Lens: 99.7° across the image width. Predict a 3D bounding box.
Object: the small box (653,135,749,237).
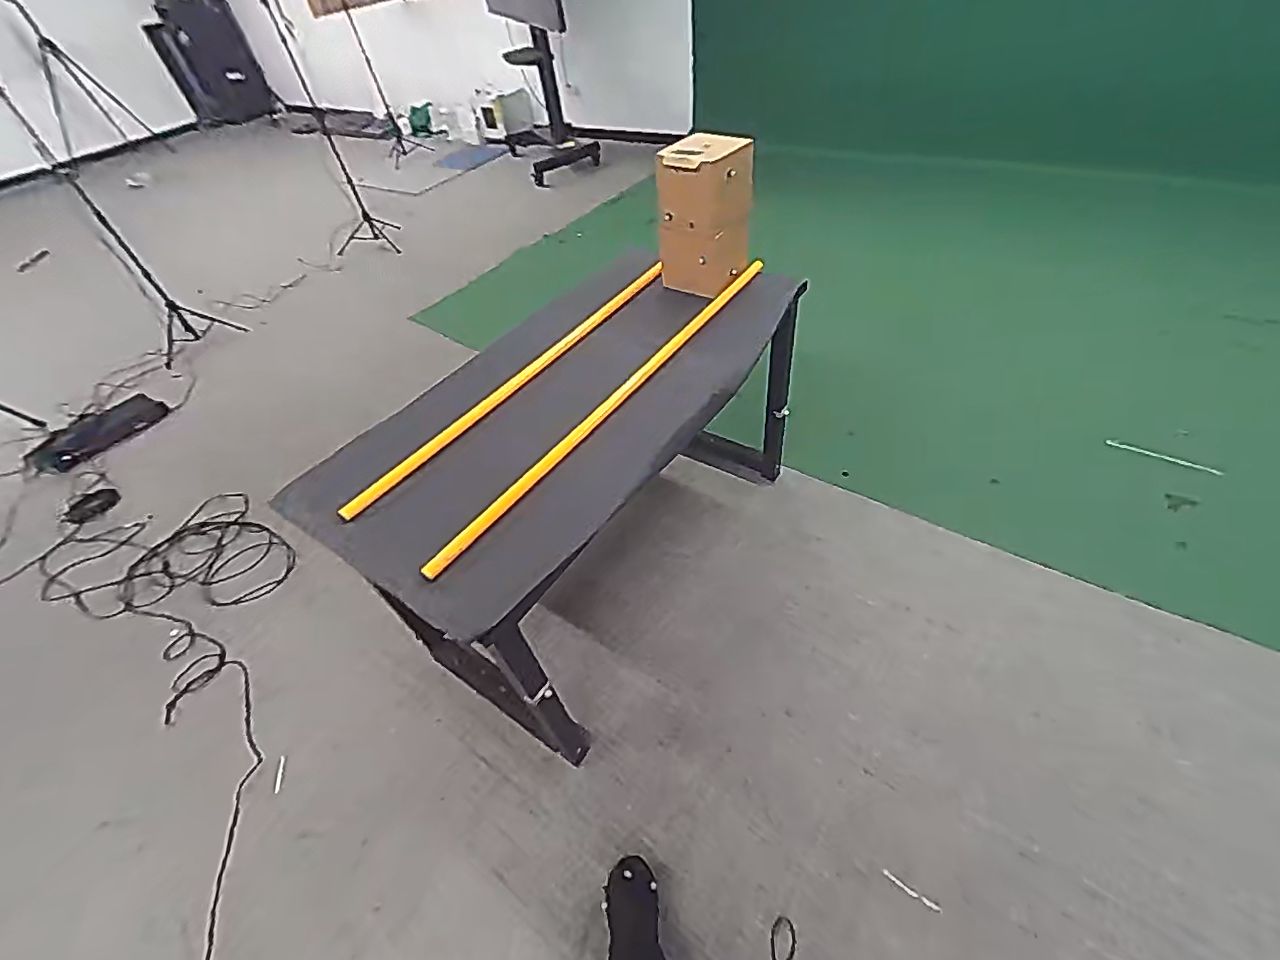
[{"bbox_3d":[0.154,-0.724,1.334,0.168,0.176,0.179,29,57,29],"label":"small box"}]
